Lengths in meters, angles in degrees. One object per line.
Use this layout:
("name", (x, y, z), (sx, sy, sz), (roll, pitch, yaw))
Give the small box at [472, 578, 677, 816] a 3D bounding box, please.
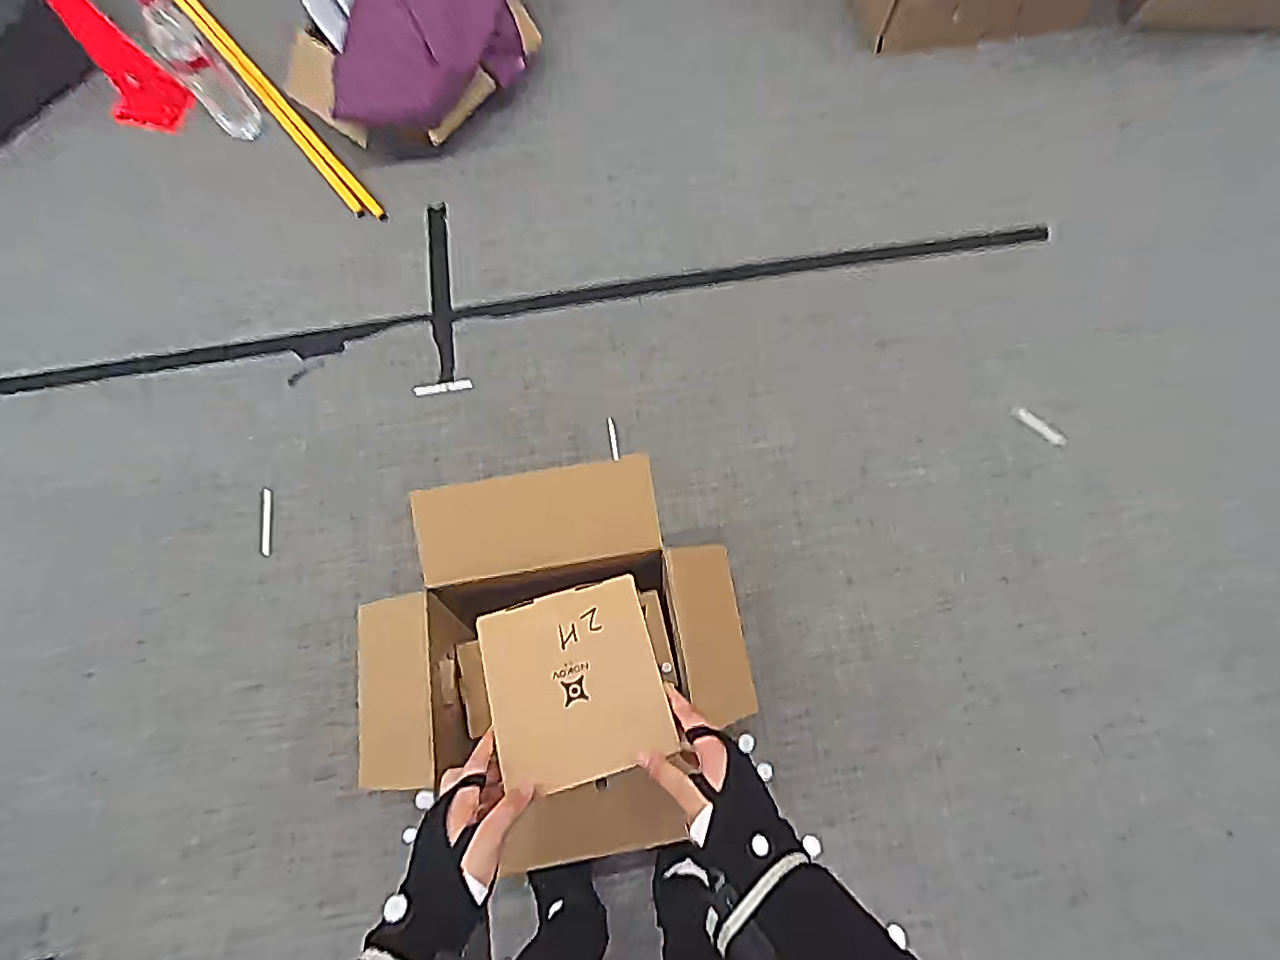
("small box", (-0.062, 0.226, 0.580), (0.168, 0.176, 0.179), (-16, 67, -5))
